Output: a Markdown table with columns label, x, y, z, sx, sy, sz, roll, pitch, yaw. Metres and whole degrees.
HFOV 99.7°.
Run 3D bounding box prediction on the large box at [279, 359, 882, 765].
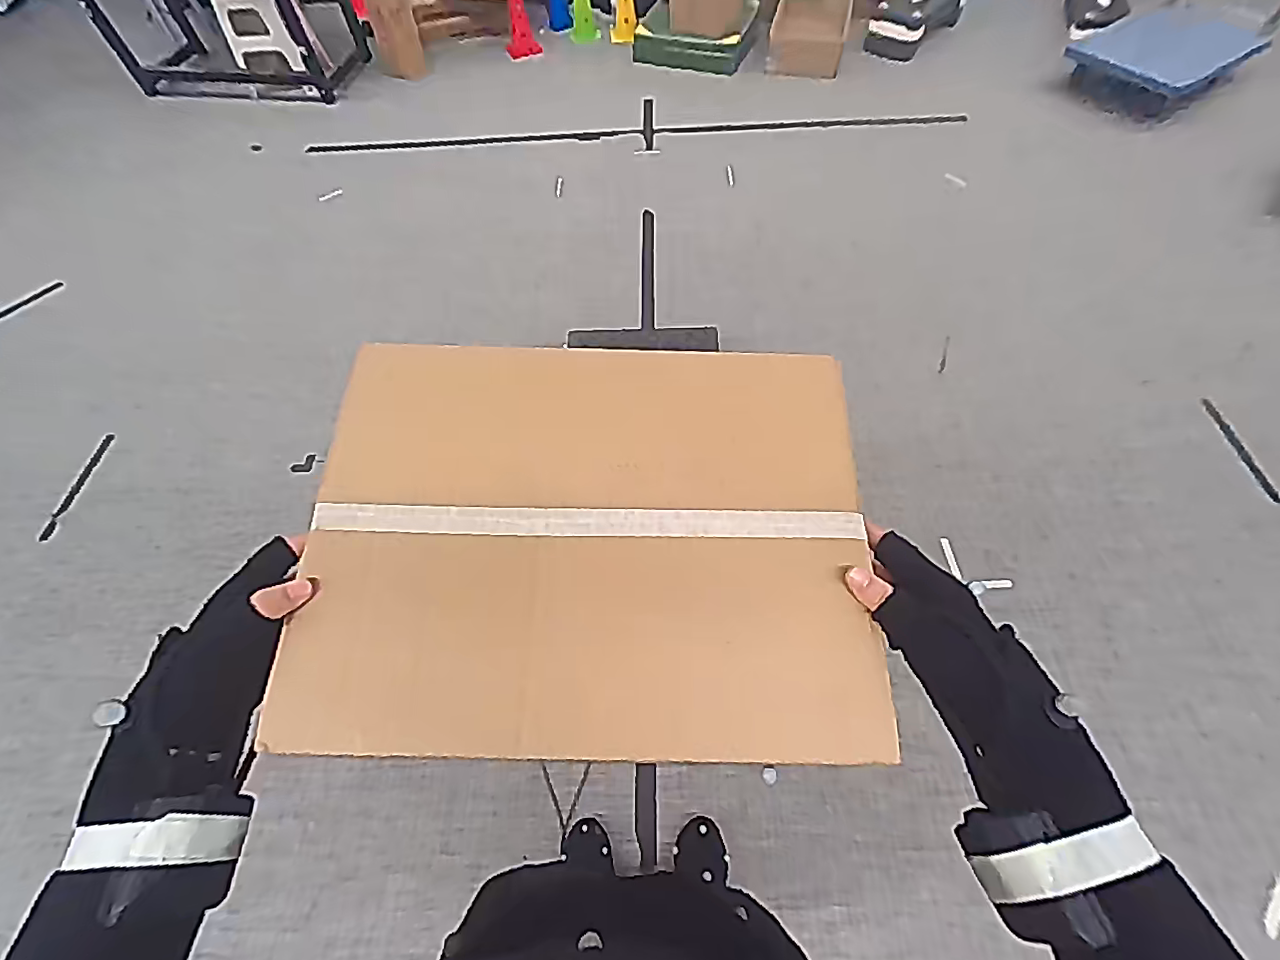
| label | x | y | z | sx | sy | sz | roll | pitch | yaw |
| --- | --- | --- | --- | --- | --- | --- | --- | --- | --- |
| large box | -0.038 | 0.097 | 0.547 | 0.408 | 0.320 | 0.320 | 2 | 66 | -1 |
